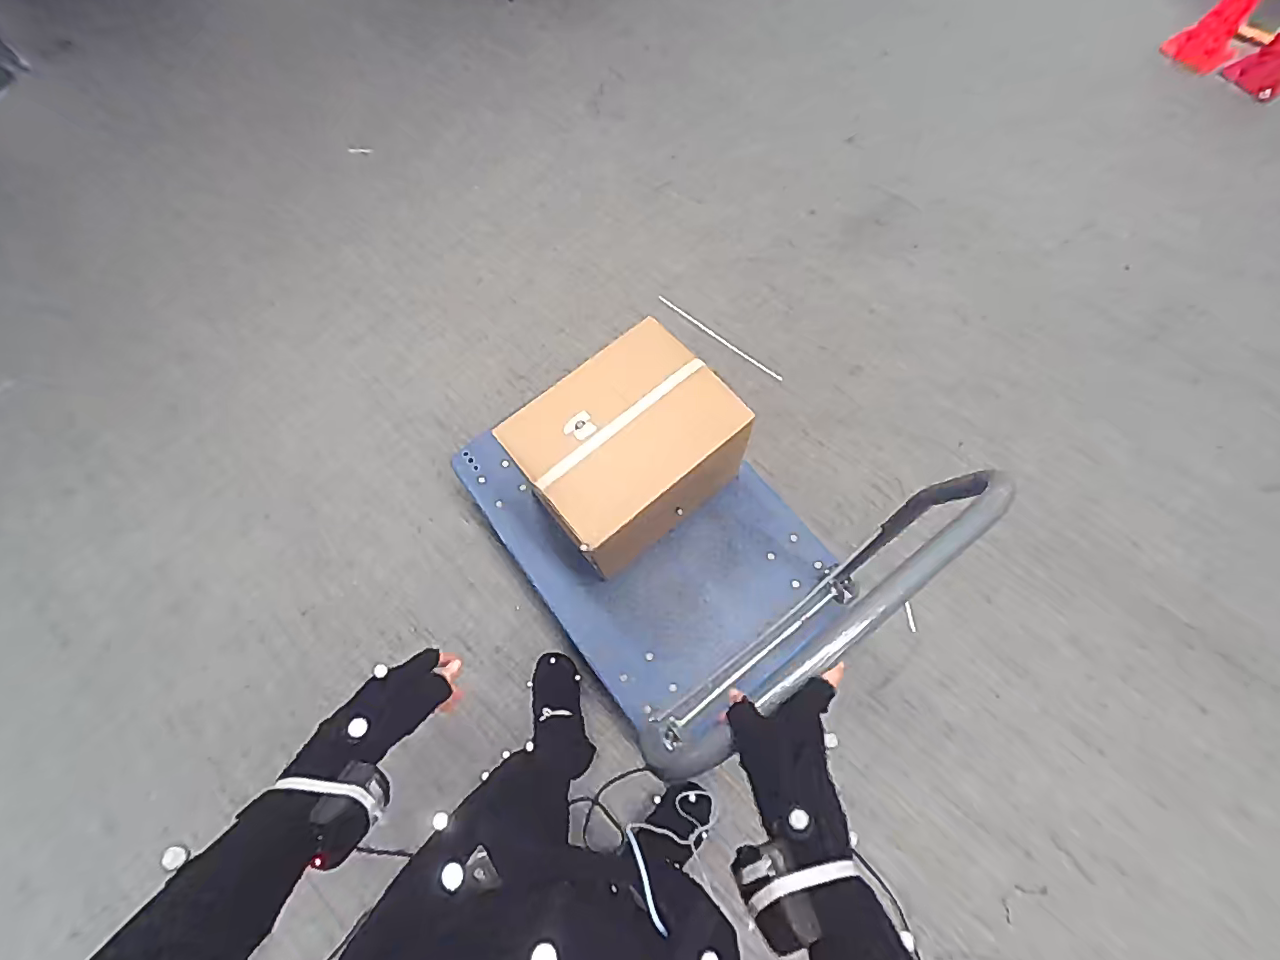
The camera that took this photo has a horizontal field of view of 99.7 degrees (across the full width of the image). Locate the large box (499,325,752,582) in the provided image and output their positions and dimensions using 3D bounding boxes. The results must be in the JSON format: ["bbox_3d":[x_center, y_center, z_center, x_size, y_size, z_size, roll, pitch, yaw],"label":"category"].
[{"bbox_3d":[-0.020,-0.042,1.172,0.408,0.320,0.320,-39,72,-10],"label":"large box"}]
